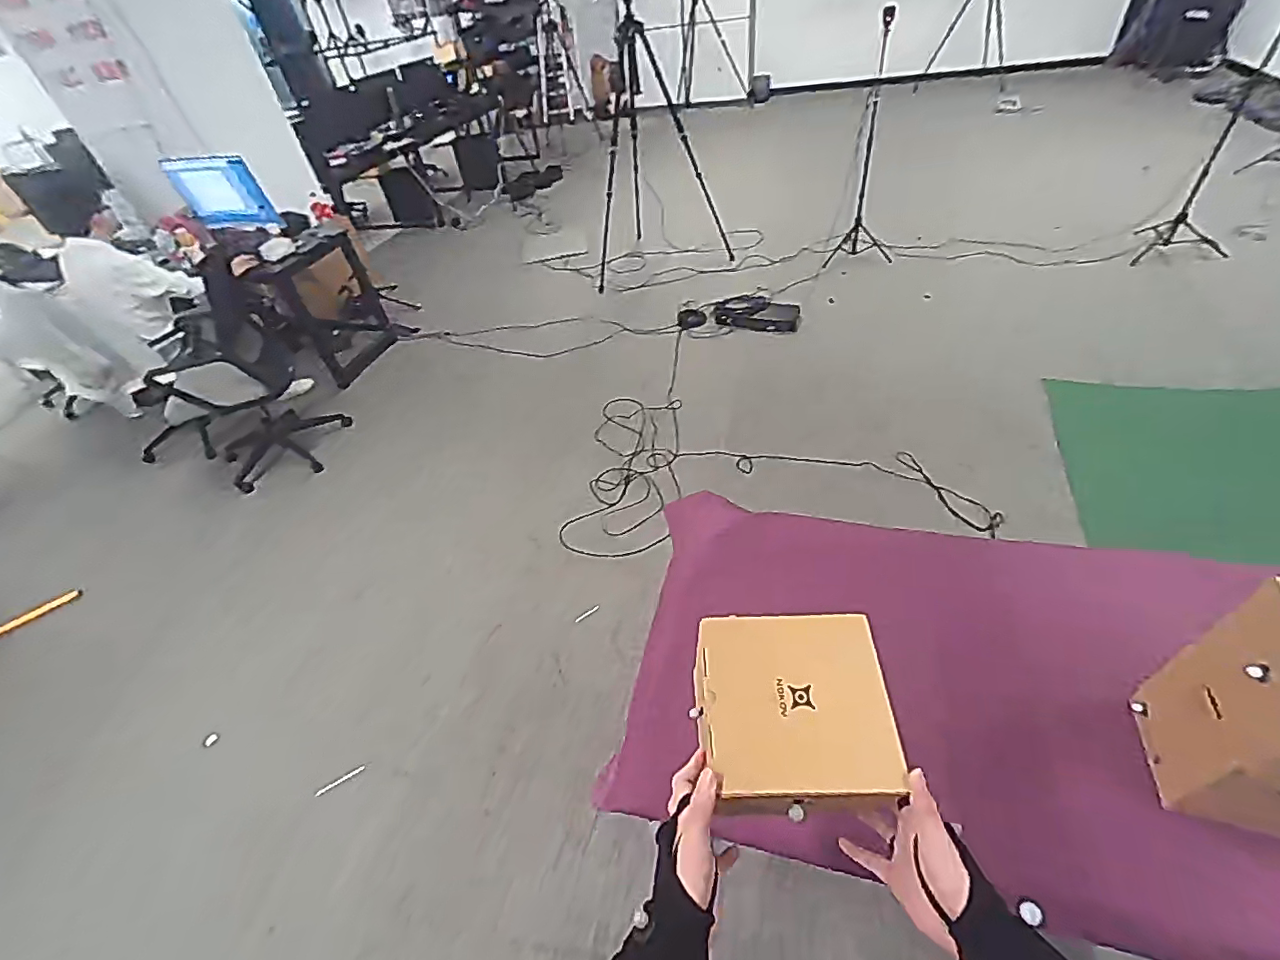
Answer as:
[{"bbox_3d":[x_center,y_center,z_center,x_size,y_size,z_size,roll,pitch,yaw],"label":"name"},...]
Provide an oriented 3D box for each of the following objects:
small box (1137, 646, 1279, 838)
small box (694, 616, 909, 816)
[{"bbox_3d":[0.816,0.352,0.720,0.179,0.176,0.168,8,46,17],"label":"small box"},{"bbox_3d":[0.153,0.258,0.585,0.179,0.176,0.168,-3,53,2],"label":"small box"}]
